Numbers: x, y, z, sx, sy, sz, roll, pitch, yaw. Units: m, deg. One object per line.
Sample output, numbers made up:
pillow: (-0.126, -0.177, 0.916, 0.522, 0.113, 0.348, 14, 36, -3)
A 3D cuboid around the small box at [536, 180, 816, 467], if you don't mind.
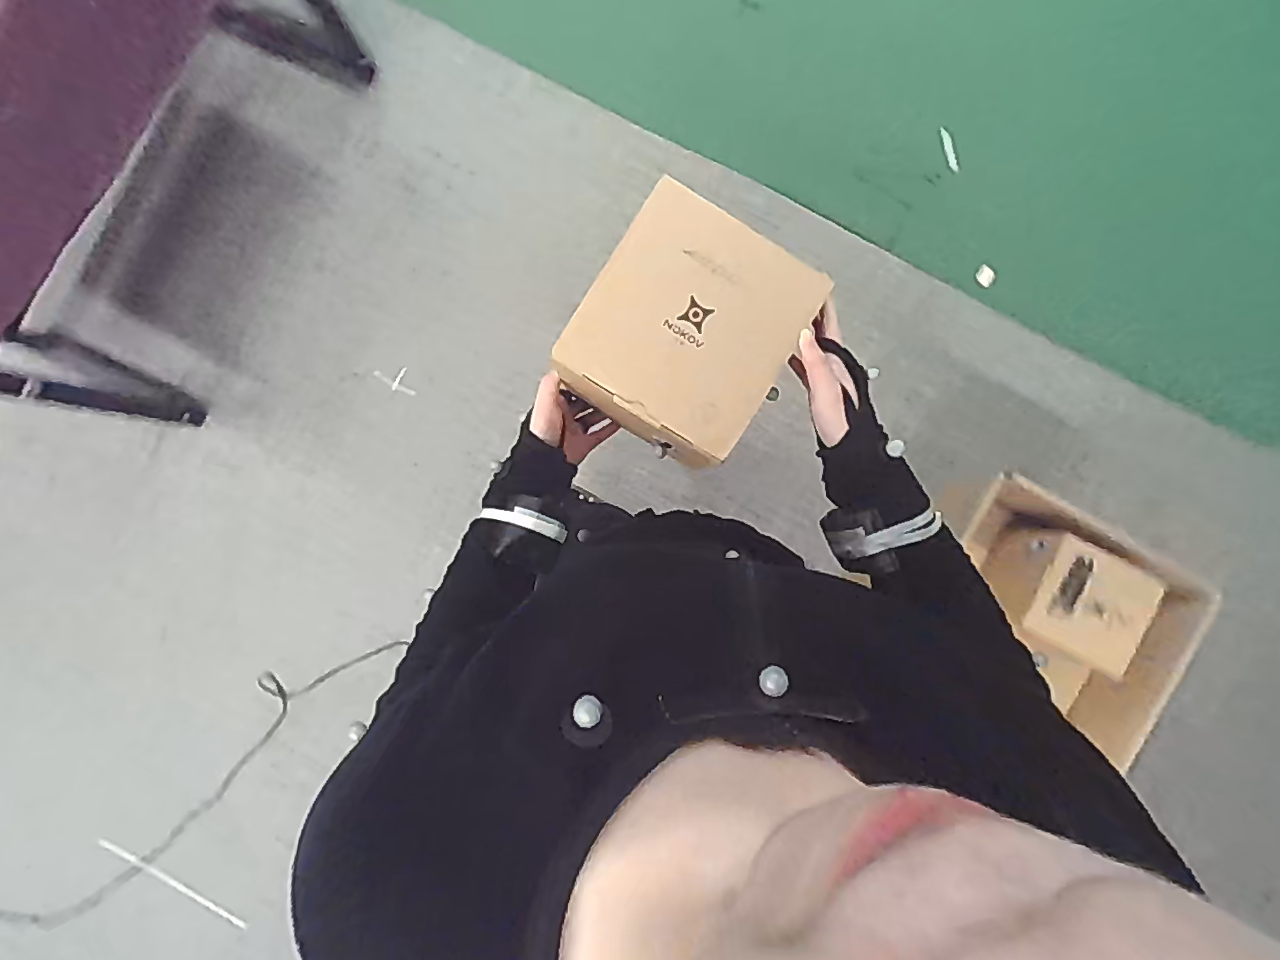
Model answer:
small box: (0.028, -0.124, 0.508, 0.168, 0.176, 0.179, 32, 88, -2)
